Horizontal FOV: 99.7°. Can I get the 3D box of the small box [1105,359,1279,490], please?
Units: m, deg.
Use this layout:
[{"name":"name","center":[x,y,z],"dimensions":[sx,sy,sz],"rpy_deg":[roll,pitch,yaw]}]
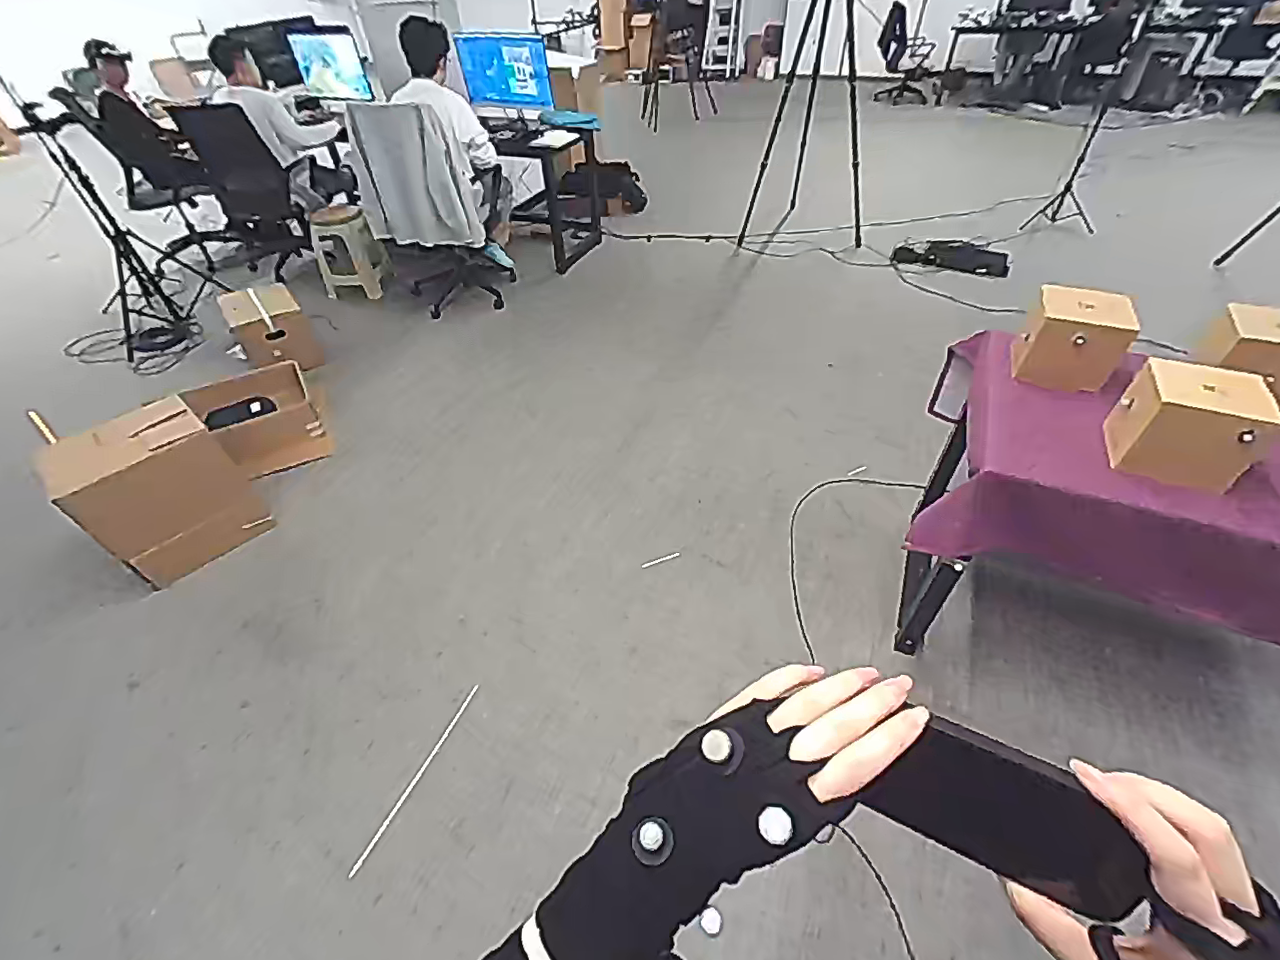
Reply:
[{"name":"small box","center":[1.036,-0.105,1.037],"dimensions":[0.179,0.176,0.168],"rpy_deg":[18,48,19]}]
